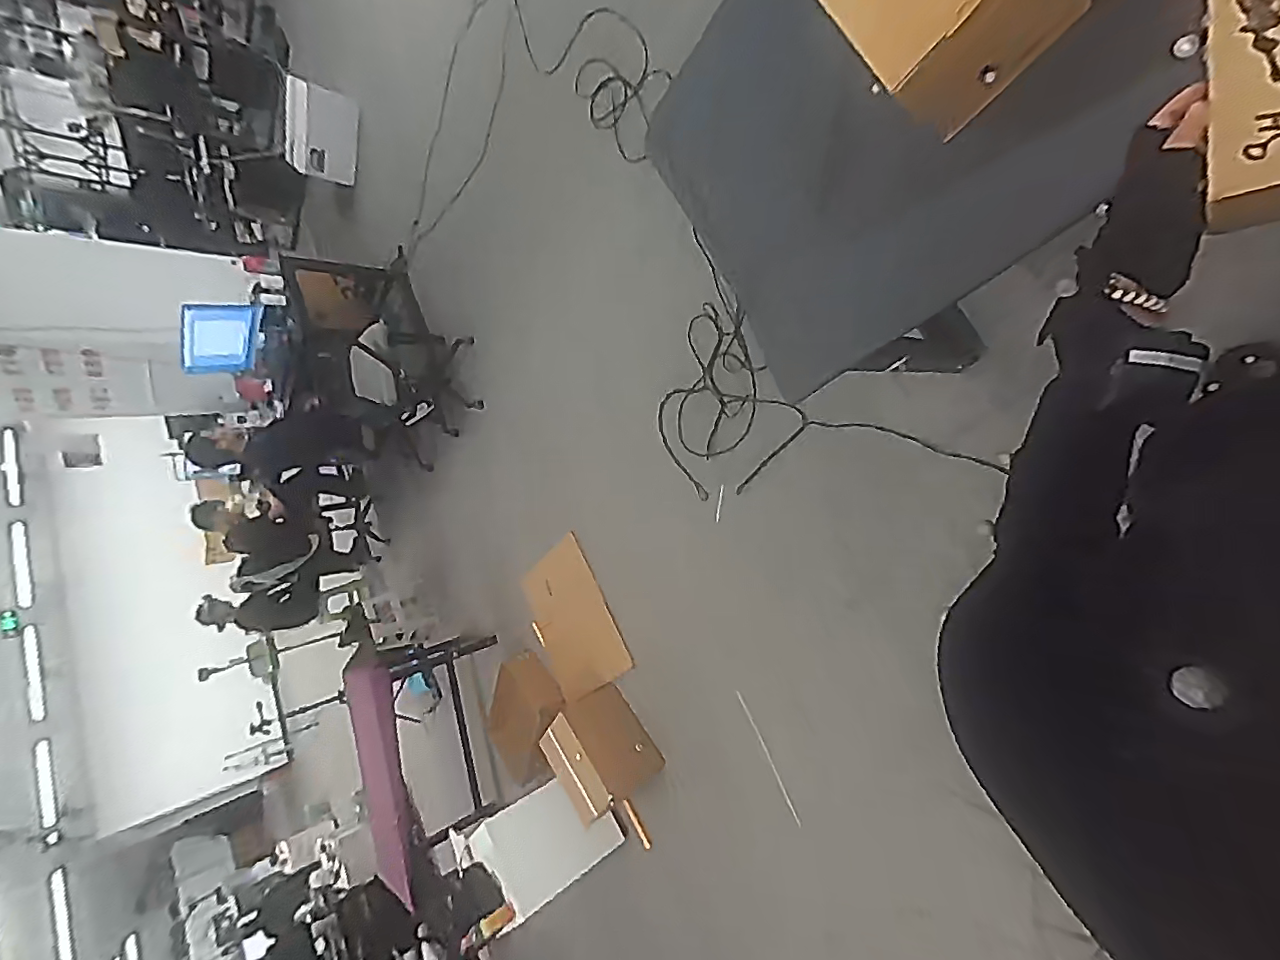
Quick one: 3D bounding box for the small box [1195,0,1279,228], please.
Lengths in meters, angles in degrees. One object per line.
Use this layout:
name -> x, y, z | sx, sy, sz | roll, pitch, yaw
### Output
small box -> 0.456, -0.267, 0.317 | 0.179, 0.176, 0.168 | 2, 100, 45
